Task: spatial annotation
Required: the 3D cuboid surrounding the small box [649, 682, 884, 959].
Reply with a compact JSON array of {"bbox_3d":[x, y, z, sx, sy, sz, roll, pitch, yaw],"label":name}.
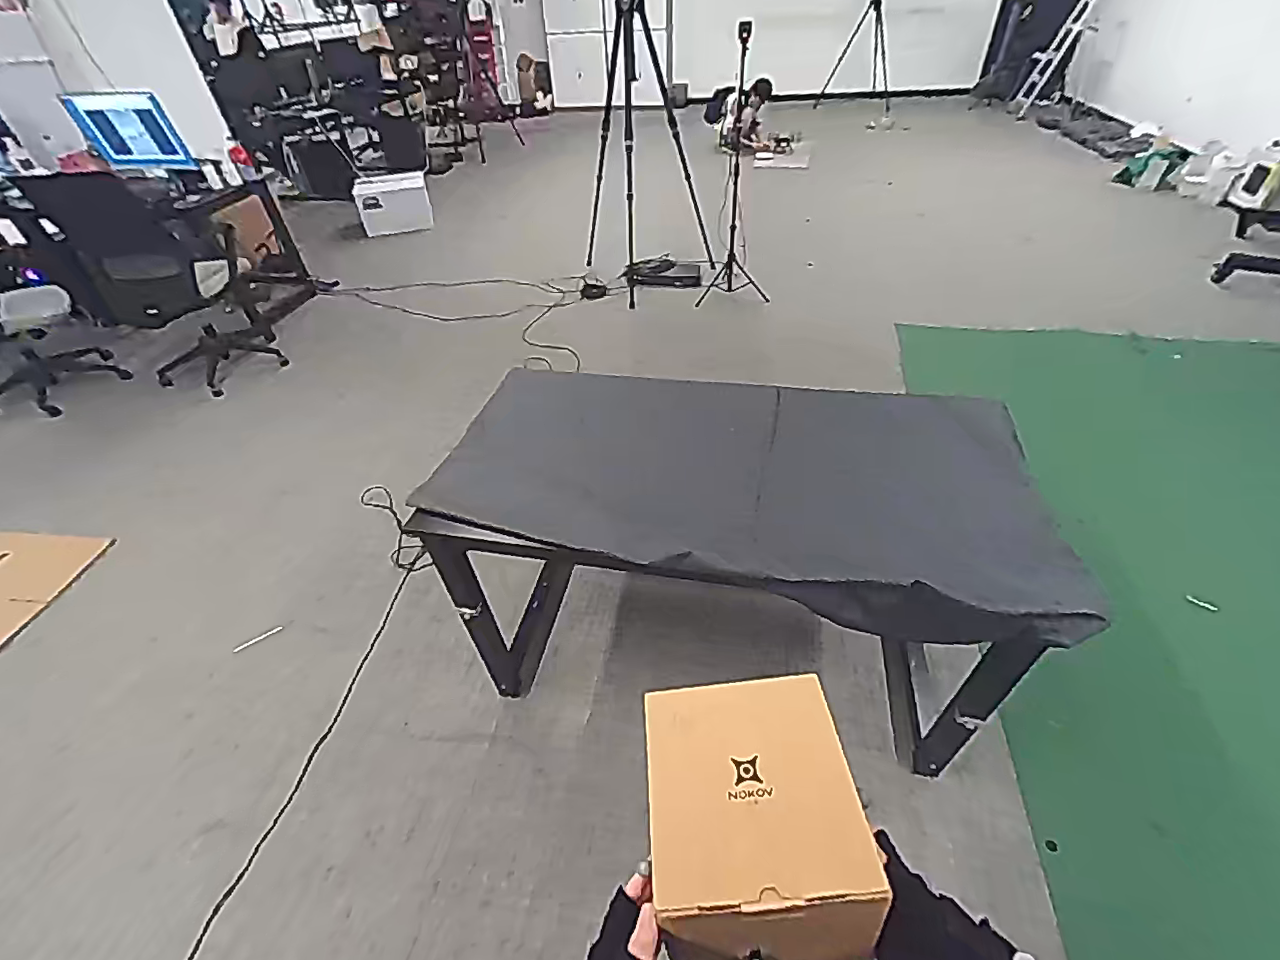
[{"bbox_3d":[0.100,0.317,0.499,0.168,0.176,0.179,-8,36,3],"label":"small box"}]
